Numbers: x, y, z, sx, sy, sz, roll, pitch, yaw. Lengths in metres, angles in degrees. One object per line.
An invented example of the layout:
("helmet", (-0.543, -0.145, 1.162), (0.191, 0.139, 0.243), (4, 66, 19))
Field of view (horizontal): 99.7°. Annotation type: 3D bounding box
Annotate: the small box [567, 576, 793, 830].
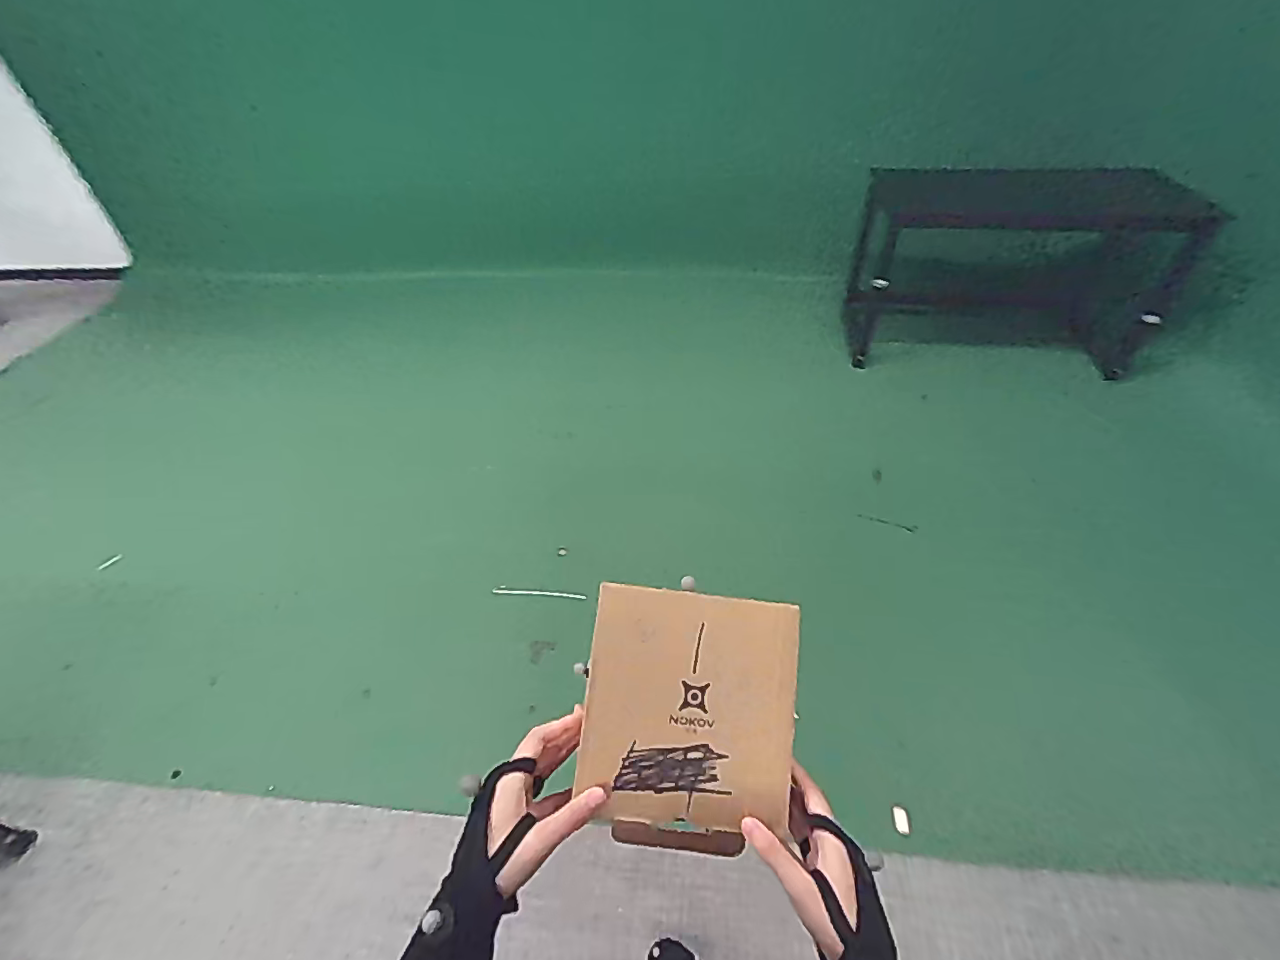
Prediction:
("small box", (0.030, 0.190, 0.508), (0.168, 0.176, 0.179), (9, 77, -4))
